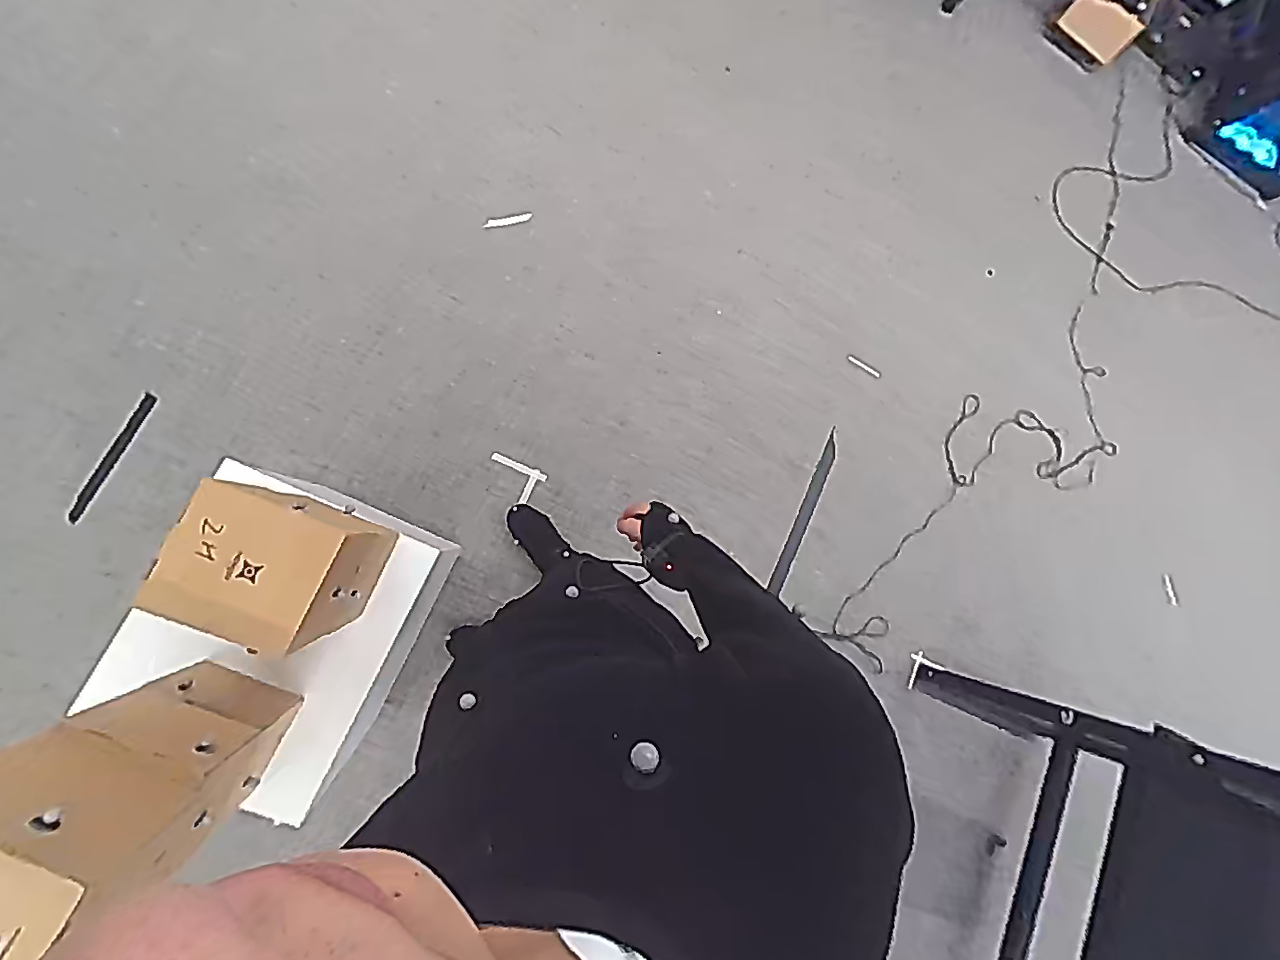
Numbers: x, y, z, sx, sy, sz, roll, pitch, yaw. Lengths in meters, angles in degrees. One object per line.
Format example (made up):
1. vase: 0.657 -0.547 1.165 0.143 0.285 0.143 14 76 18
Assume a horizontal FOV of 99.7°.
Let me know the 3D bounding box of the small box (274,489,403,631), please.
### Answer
1. small box: -0.520 0.129 0.885 0.179 0.176 0.168 24 81 -10

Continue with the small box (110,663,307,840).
1. small box: -0.655 0.400 0.828 0.179 0.176 0.168 26 79 -9

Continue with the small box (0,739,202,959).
1. small box: -0.578 0.376 0.508 0.179 0.176 0.168 29 78 -8

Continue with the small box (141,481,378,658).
1. small box: -0.483 0.113 0.725 0.179 0.176 0.168 25 80 -10
